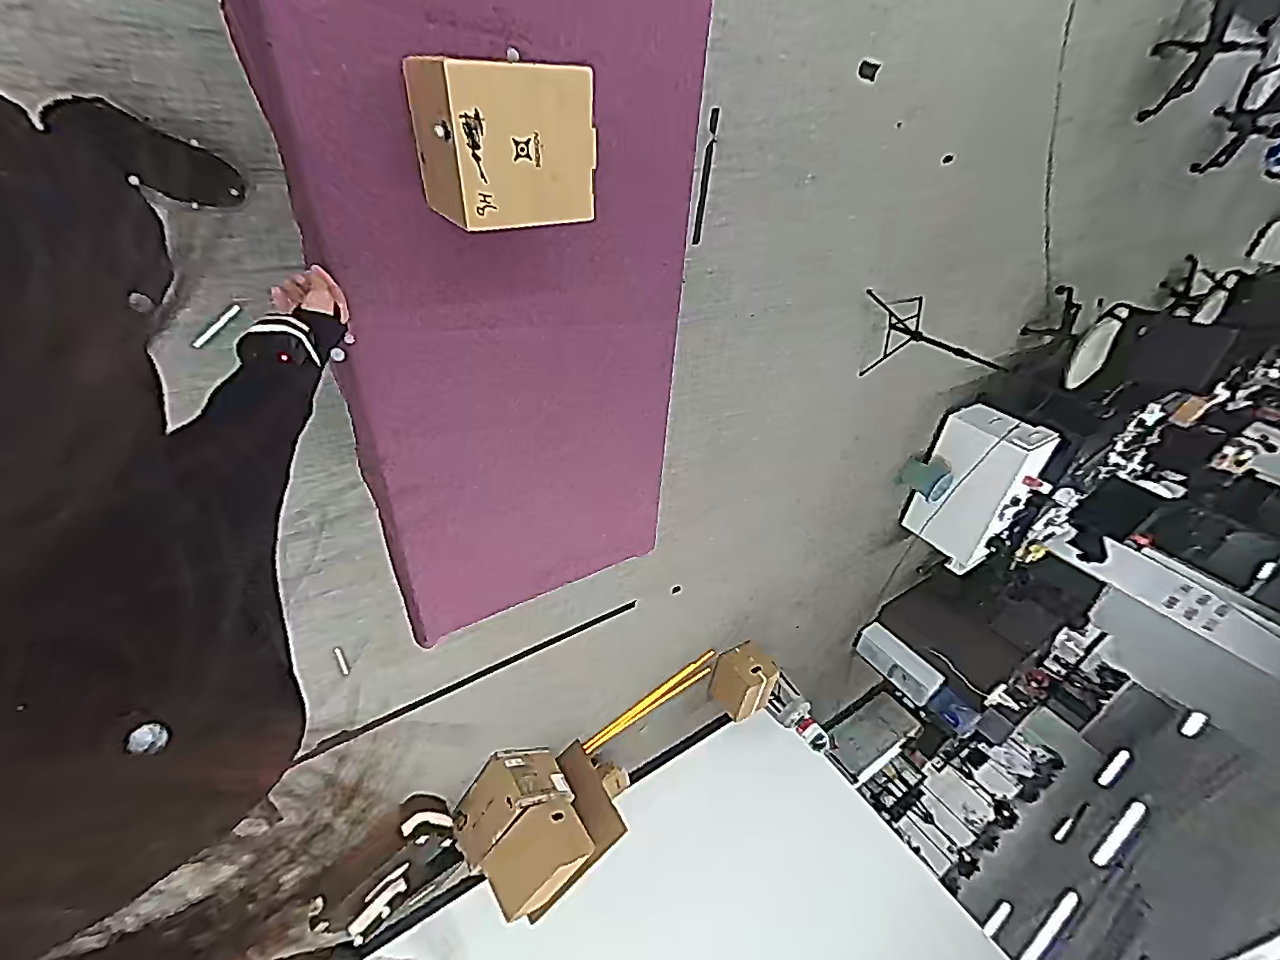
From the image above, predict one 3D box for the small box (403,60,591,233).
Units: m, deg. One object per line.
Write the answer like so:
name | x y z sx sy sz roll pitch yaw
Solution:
small box | -0.178 -0.428 0.692 0.179 0.176 0.168 -20 132 -28
